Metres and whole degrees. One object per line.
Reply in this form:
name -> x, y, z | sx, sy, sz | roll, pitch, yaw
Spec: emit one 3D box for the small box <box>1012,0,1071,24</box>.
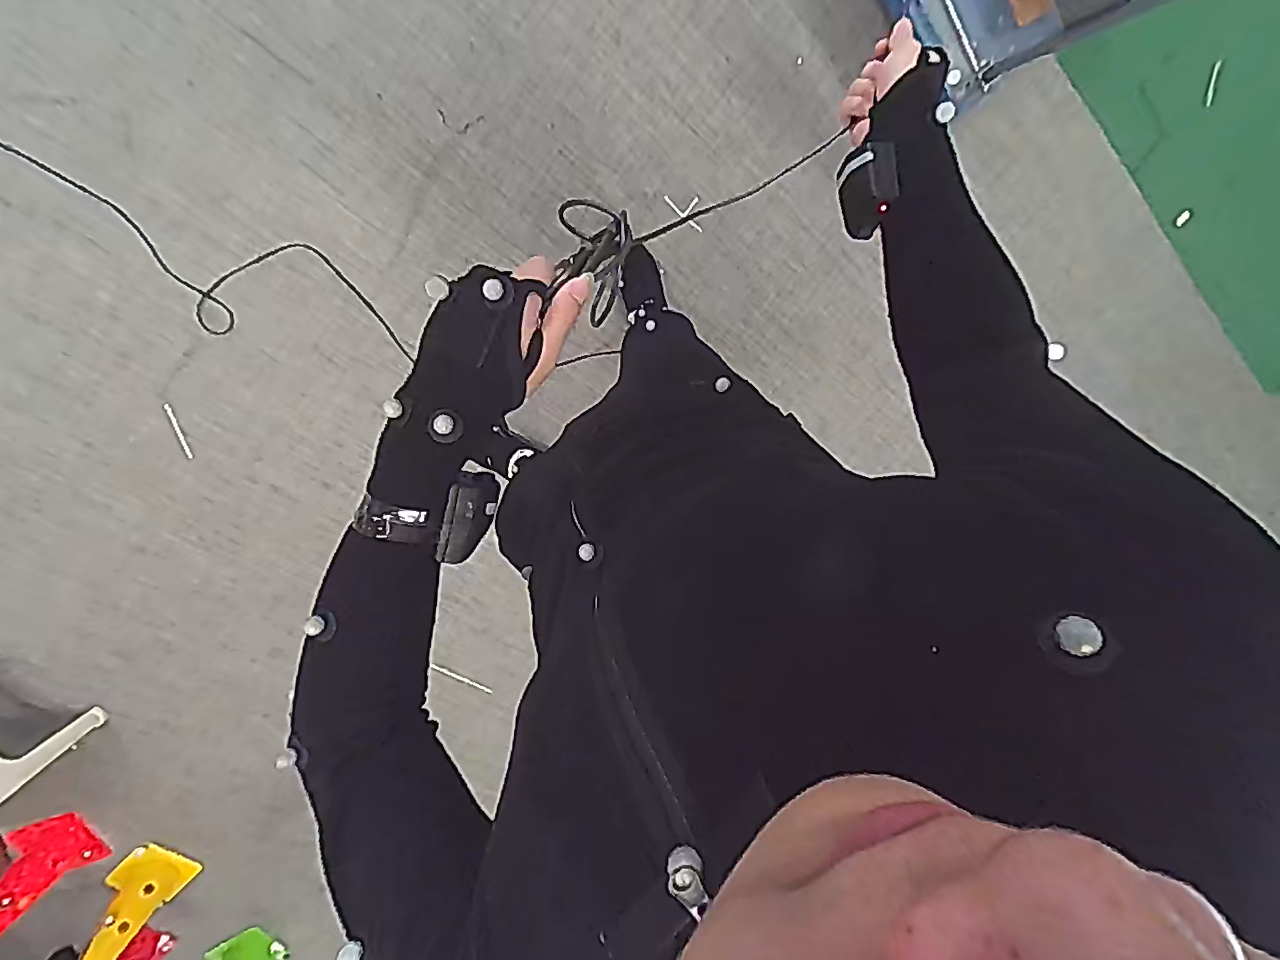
small box -> 0.944, -1.172, 1.185 | 0.179, 0.176, 0.168 | -41, 111, 4
